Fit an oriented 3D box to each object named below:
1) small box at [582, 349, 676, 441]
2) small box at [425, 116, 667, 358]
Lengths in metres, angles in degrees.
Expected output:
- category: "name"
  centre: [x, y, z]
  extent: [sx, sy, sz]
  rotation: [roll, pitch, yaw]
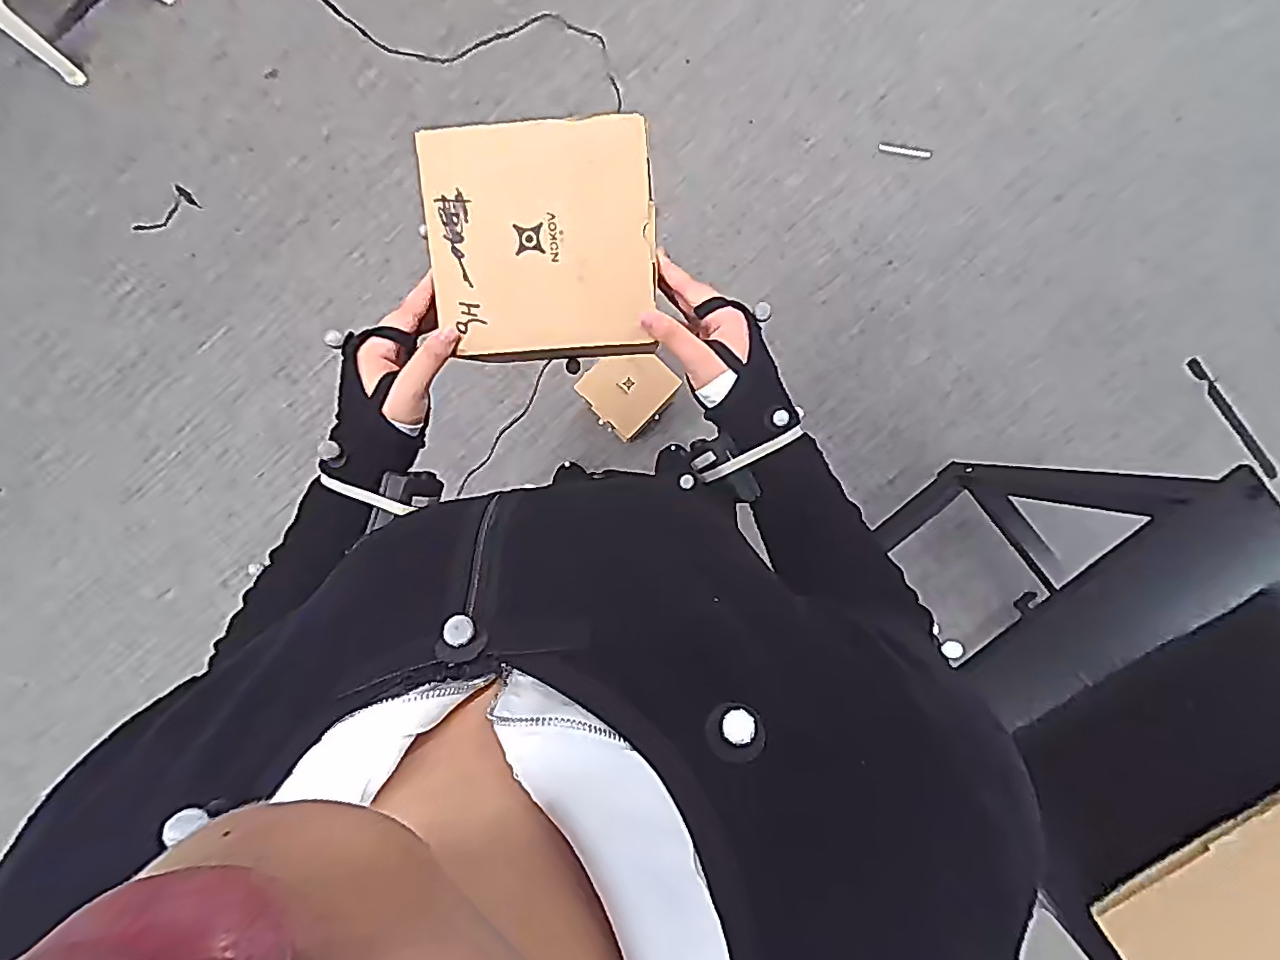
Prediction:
- category: "small box"
  centre: [-0.028, -0.219, 1.406]
  extent: [0.179, 0.176, 0.168]
  rotation: [-43, 92, 4]
- category: "small box"
  centre: [-0.072, -0.203, 0.498]
  extent: [0.179, 0.176, 0.168]
  rotation: [-4, 100, 1]
